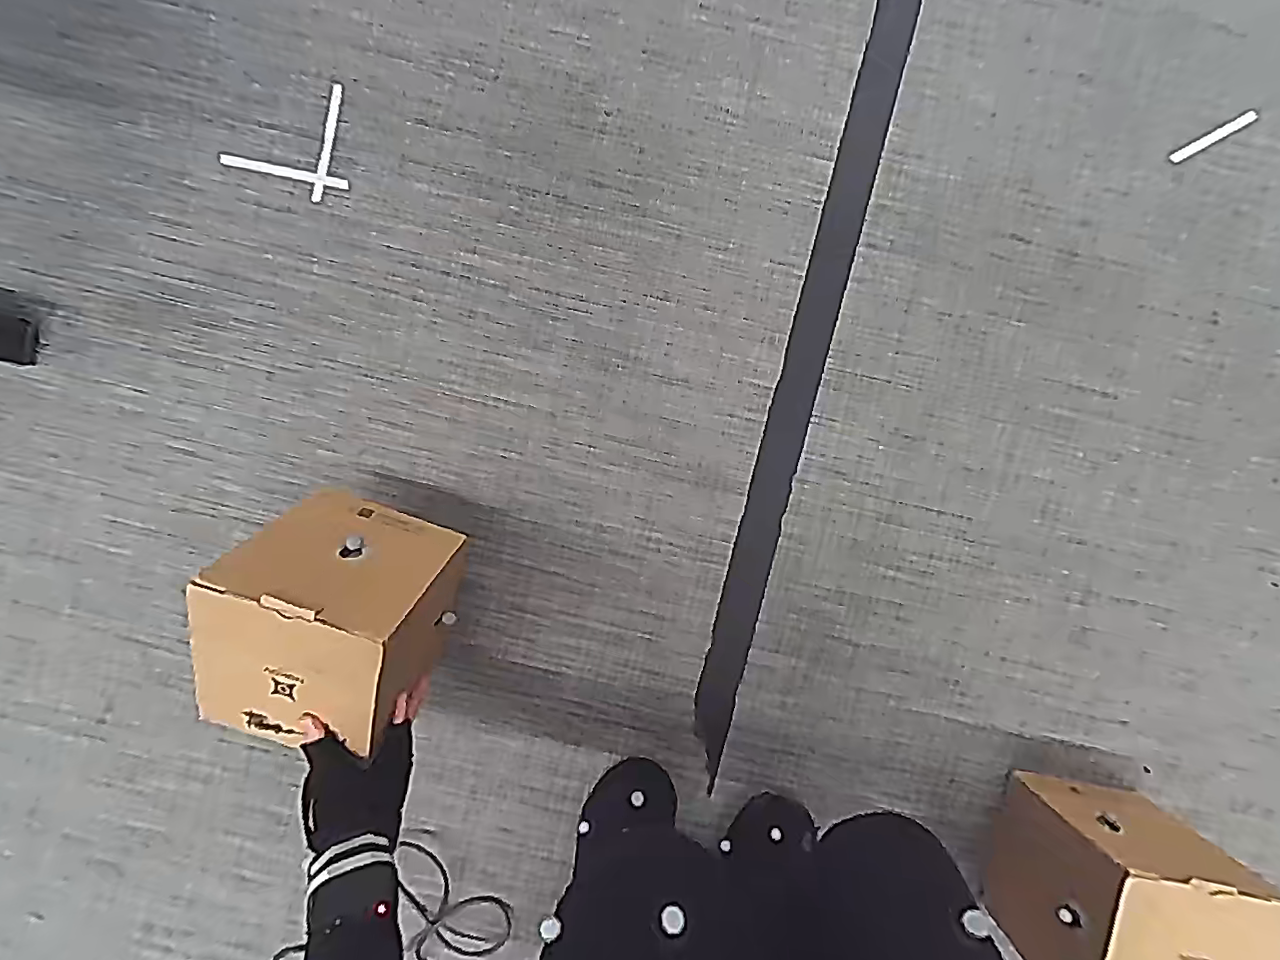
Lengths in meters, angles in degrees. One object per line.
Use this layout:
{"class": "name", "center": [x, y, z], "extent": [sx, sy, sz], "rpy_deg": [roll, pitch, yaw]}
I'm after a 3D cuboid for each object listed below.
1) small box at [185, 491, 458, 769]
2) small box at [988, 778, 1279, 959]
{"class": "small box", "center": [-0.298, 0.136, 0.535], "extent": [0.168, 0.176, 0.179], "rpy_deg": [20, 116, -2]}
{"class": "small box", "center": [0.509, 0.453, 0.572], "extent": [0.168, 0.176, 0.179], "rpy_deg": [11, 93, 1]}
